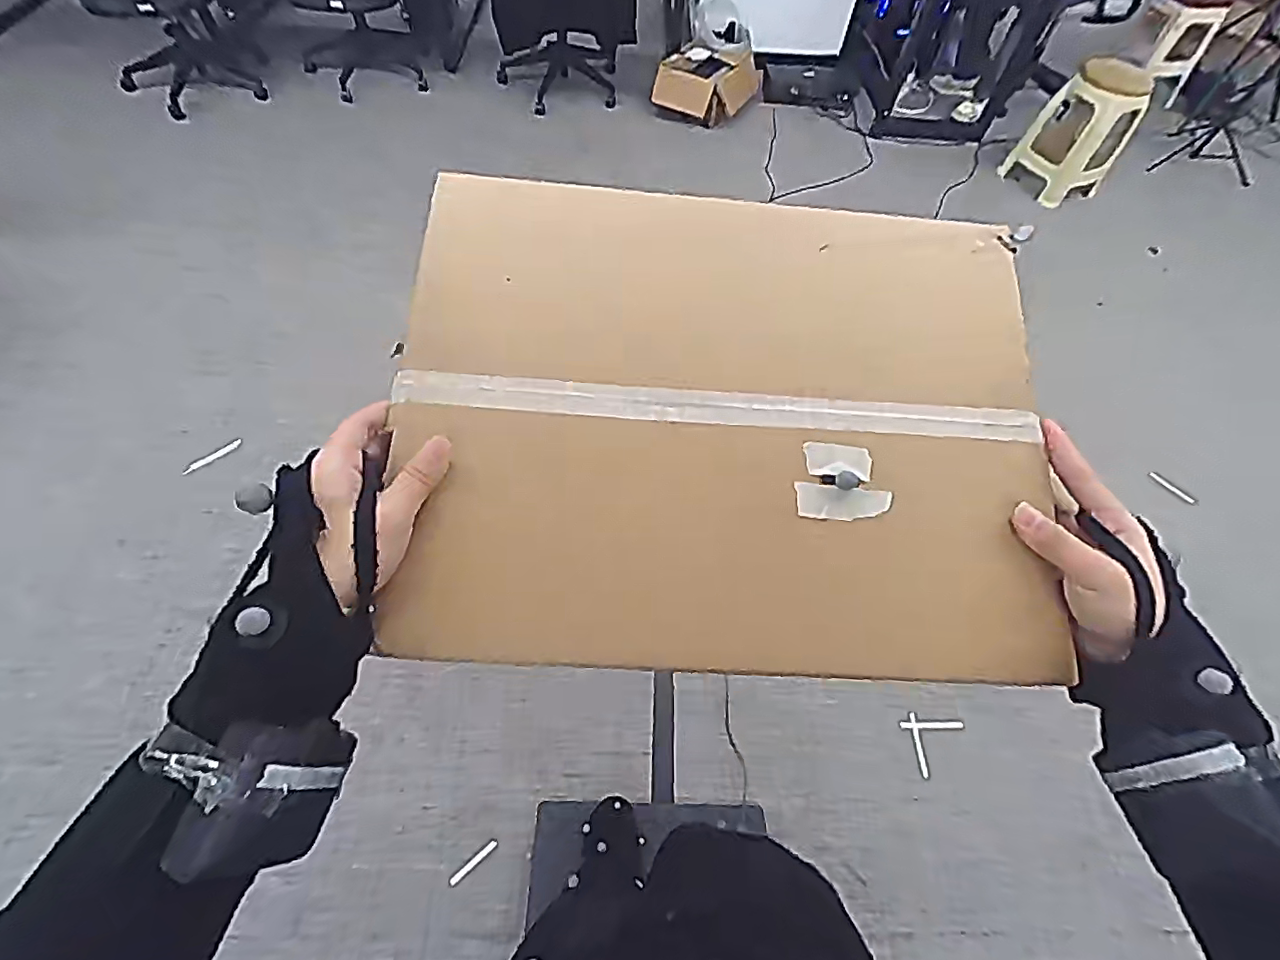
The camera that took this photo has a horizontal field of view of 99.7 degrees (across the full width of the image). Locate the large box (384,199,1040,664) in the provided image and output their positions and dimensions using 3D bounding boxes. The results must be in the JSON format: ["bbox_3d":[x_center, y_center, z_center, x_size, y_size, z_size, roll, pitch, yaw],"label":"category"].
[{"bbox_3d":[0.041,-0.006,0.500,0.408,0.320,0.320,3,76,-4],"label":"large box"}]

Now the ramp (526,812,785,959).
[{"bbox_3d":[0.027,1.088,0.833,0.509,0.206,0.991,0,57,-2],"label":"ramp"}]
